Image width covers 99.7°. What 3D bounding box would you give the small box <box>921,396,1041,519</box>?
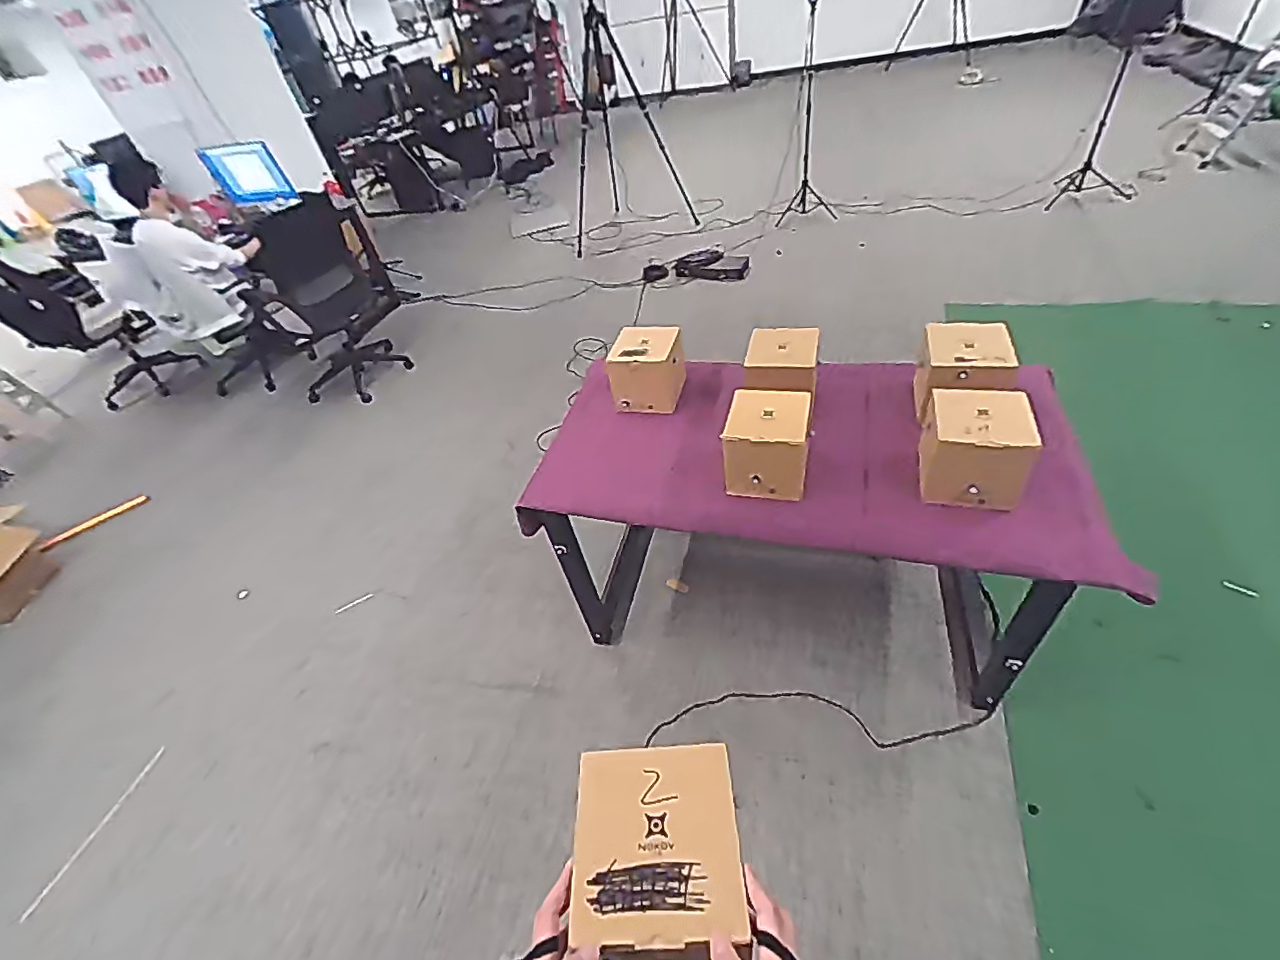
[{"bbox_3d":[0.670,-0.047,1.086,0.168,0.176,0.179,6,44,20],"label":"small box"}]

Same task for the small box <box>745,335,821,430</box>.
[{"bbox_3d":[0.366,-0.251,1.381,0.168,0.176,0.179,5,46,19],"label":"small box"}]

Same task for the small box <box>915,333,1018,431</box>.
[{"bbox_3d":[0.750,-0.226,1.261,0.168,0.176,0.179,4,45,19],"label":"small box"}]

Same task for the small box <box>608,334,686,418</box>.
[{"bbox_3d":[0.028,-0.286,1.493,0.168,0.176,0.179,5,45,17],"label":"small box"}]
